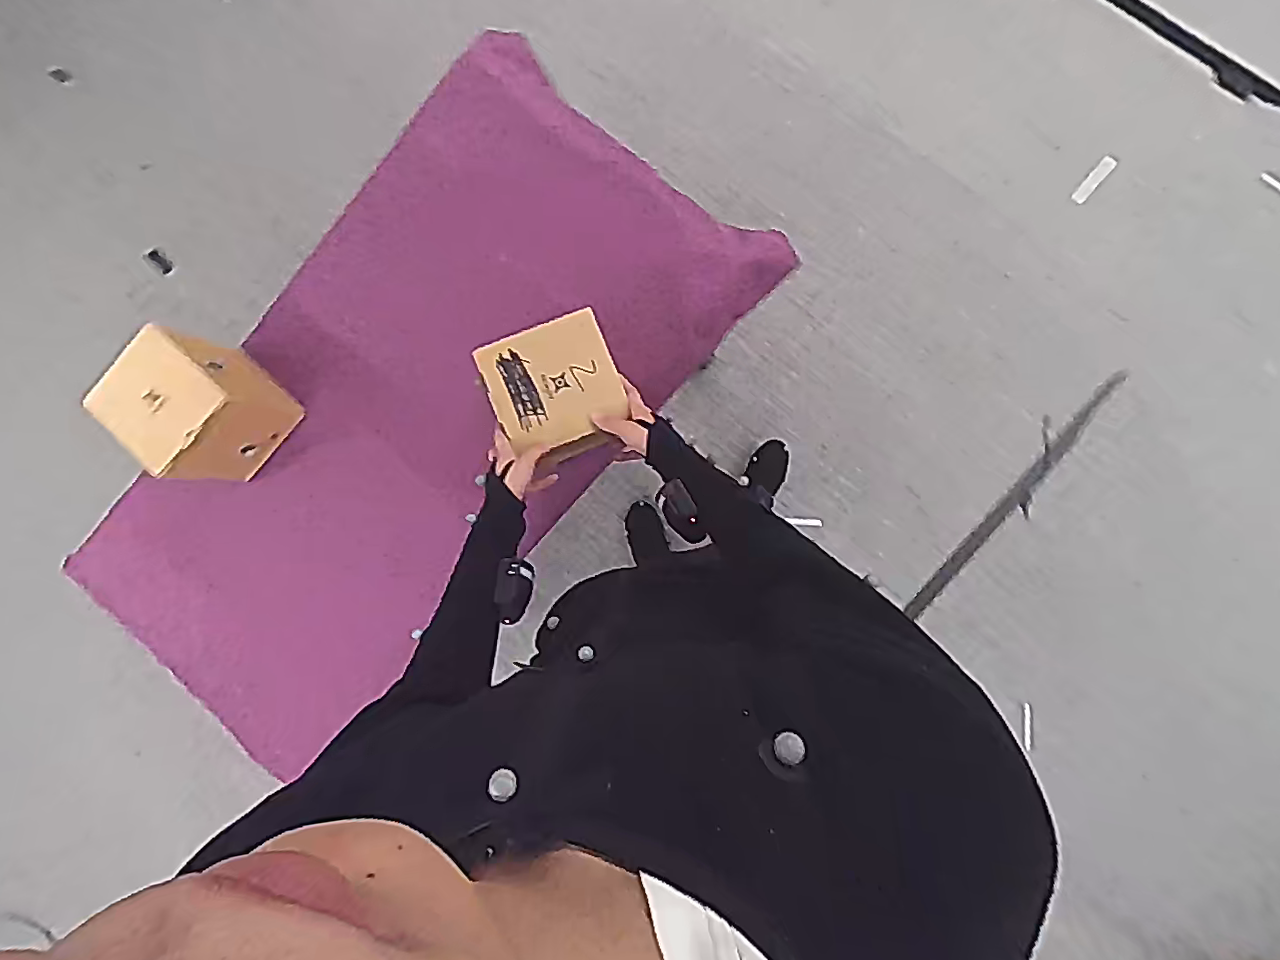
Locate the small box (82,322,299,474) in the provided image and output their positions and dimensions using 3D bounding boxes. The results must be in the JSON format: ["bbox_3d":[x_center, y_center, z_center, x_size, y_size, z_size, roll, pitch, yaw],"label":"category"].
[{"bbox_3d":[-0.720,-0.120,0.886,0.179,0.176,0.168,42,93,4],"label":"small box"}]
